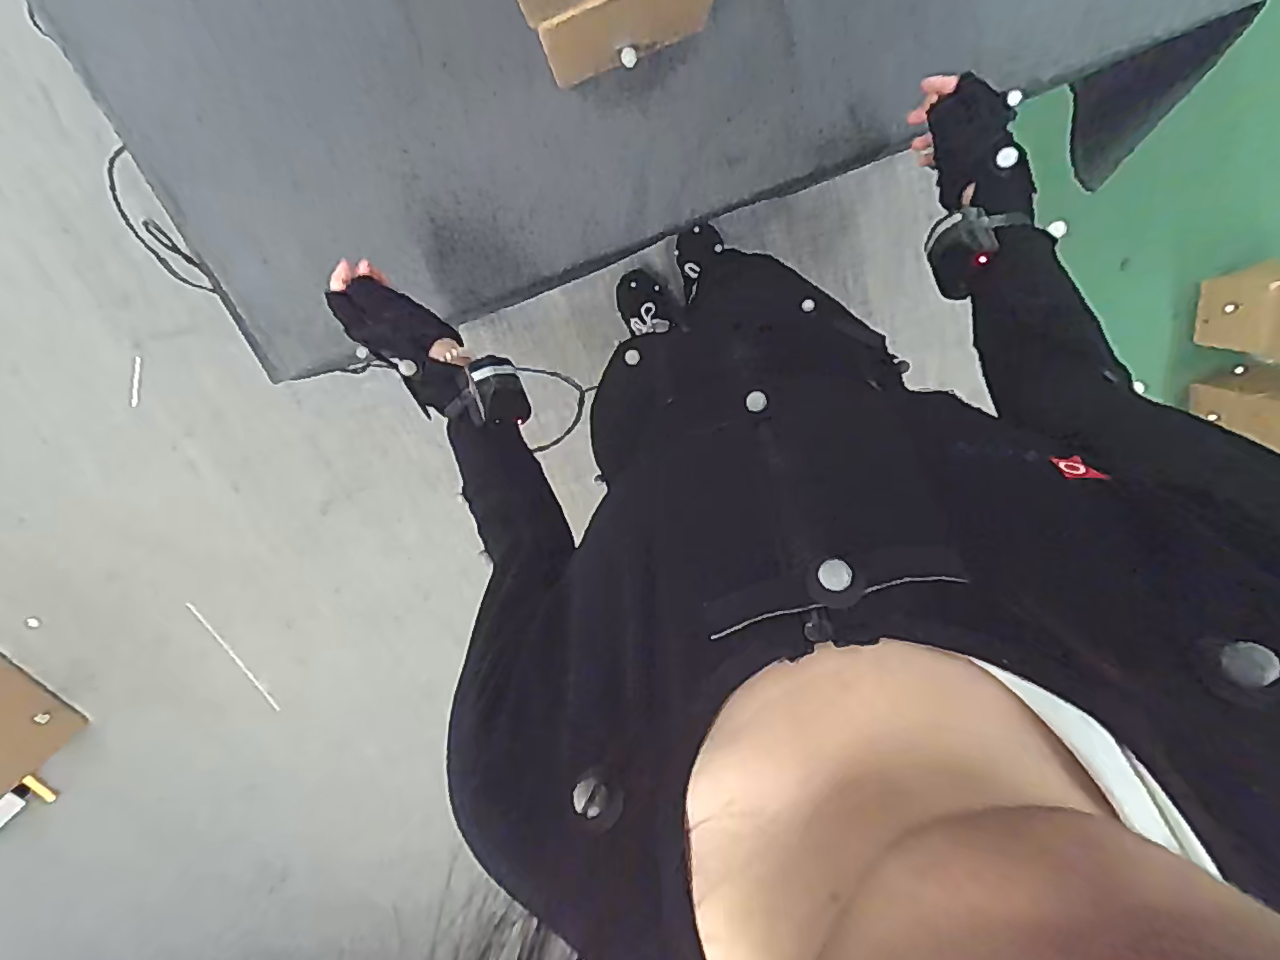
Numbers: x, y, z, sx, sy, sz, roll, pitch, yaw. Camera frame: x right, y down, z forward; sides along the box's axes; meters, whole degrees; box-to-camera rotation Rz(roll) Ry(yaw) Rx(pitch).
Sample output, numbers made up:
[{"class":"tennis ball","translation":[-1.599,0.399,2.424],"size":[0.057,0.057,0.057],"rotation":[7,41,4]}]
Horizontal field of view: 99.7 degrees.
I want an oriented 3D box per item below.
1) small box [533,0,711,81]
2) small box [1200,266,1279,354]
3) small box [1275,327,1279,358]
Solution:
[{"class":"small box","translation":[-0.034,-0.497,0.471],"size":[0.168,0.176,0.179],"rotation":[-18,111,7]},{"class":"small box","translation":[1.528,-0.415,1.309],"size":[0.179,0.176,0.168],"rotation":[-14,111,4]},{"class":"small box","translation":[1.543,-0.349,1.158],"size":[0.168,0.176,0.179],"rotation":[-15,111,5]}]
